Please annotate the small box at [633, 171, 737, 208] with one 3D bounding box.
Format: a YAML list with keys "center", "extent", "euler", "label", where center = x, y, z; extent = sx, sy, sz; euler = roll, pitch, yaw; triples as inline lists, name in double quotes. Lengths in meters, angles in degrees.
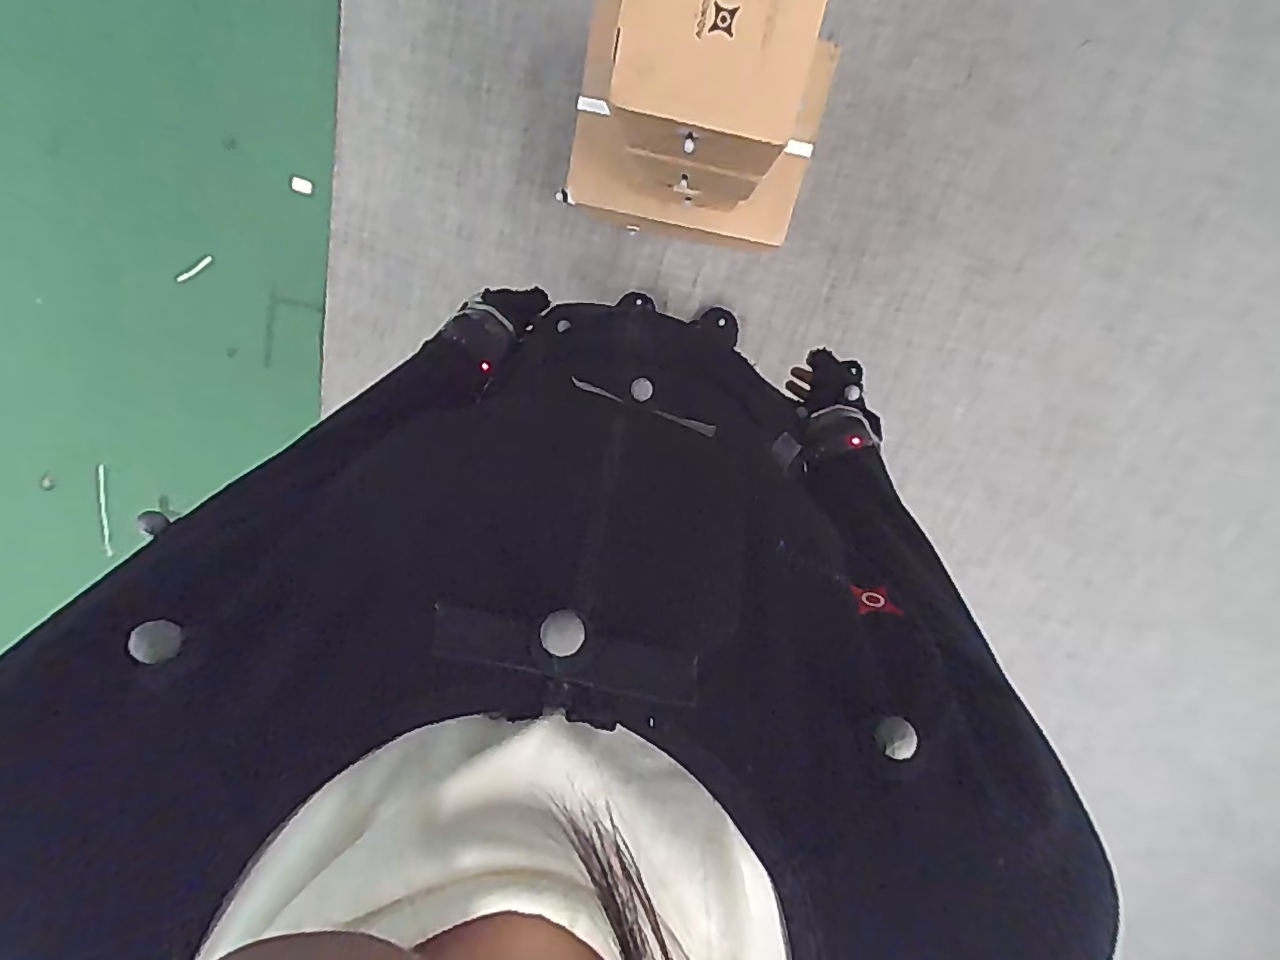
- center: [0.092, -0.544, 0.853]
  extent: [0.168, 0.176, 0.179]
  euler: [12, 111, 1]
  label: "small box"

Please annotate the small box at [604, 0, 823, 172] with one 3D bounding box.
- center: [0.073, -0.431, 0.548]
  extent: [0.179, 0.176, 0.168]
  euler: [13, 111, -1]
  label: "small box"

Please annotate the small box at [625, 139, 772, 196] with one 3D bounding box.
- center: [0.085, -0.480, 0.702]
  extent: [0.179, 0.176, 0.168]
  euler: [10, 111, 0]
  label: "small box"
